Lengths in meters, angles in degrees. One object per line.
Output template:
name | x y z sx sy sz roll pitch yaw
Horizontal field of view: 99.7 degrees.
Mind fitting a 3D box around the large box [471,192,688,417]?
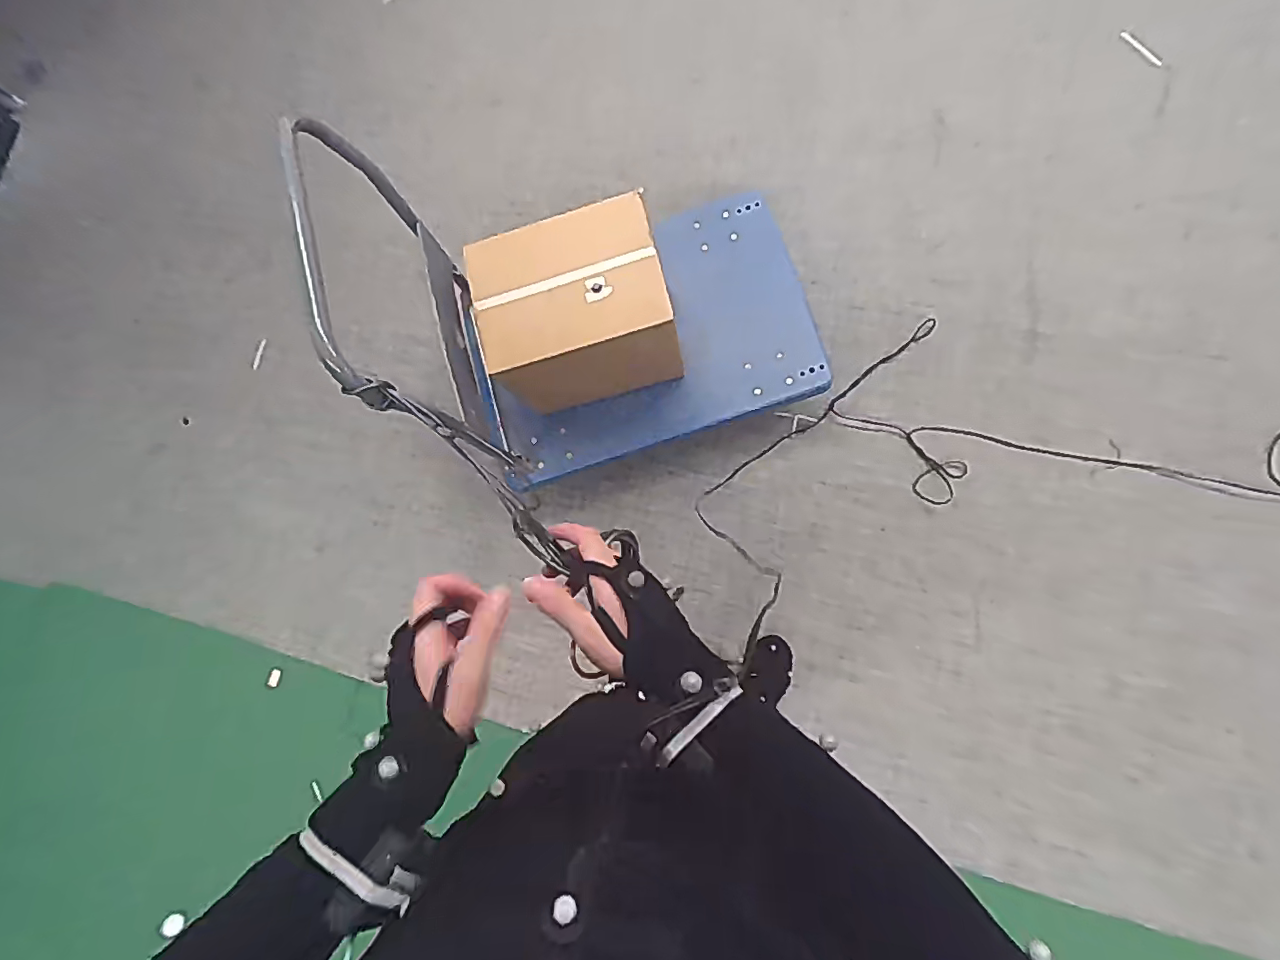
large box | -0.123 -0.381 1.263 0.408 0.320 0.320 -15 78 5
